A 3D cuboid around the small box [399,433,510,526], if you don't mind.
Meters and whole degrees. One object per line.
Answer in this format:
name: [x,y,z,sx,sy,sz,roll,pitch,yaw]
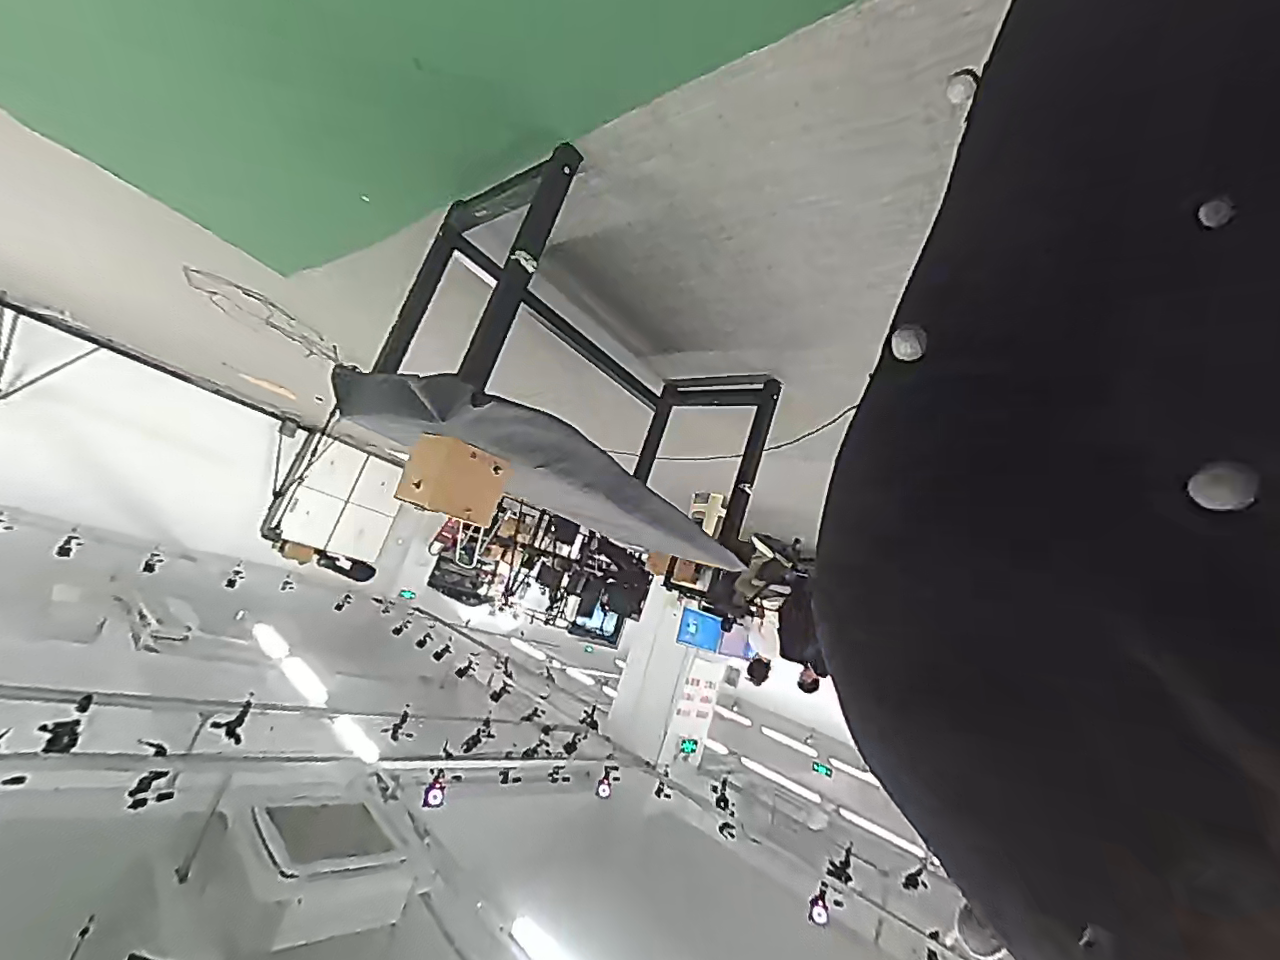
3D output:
small box: [-0.431,-0.003,1.279,0.179,0.176,0.168,10,167,43]
